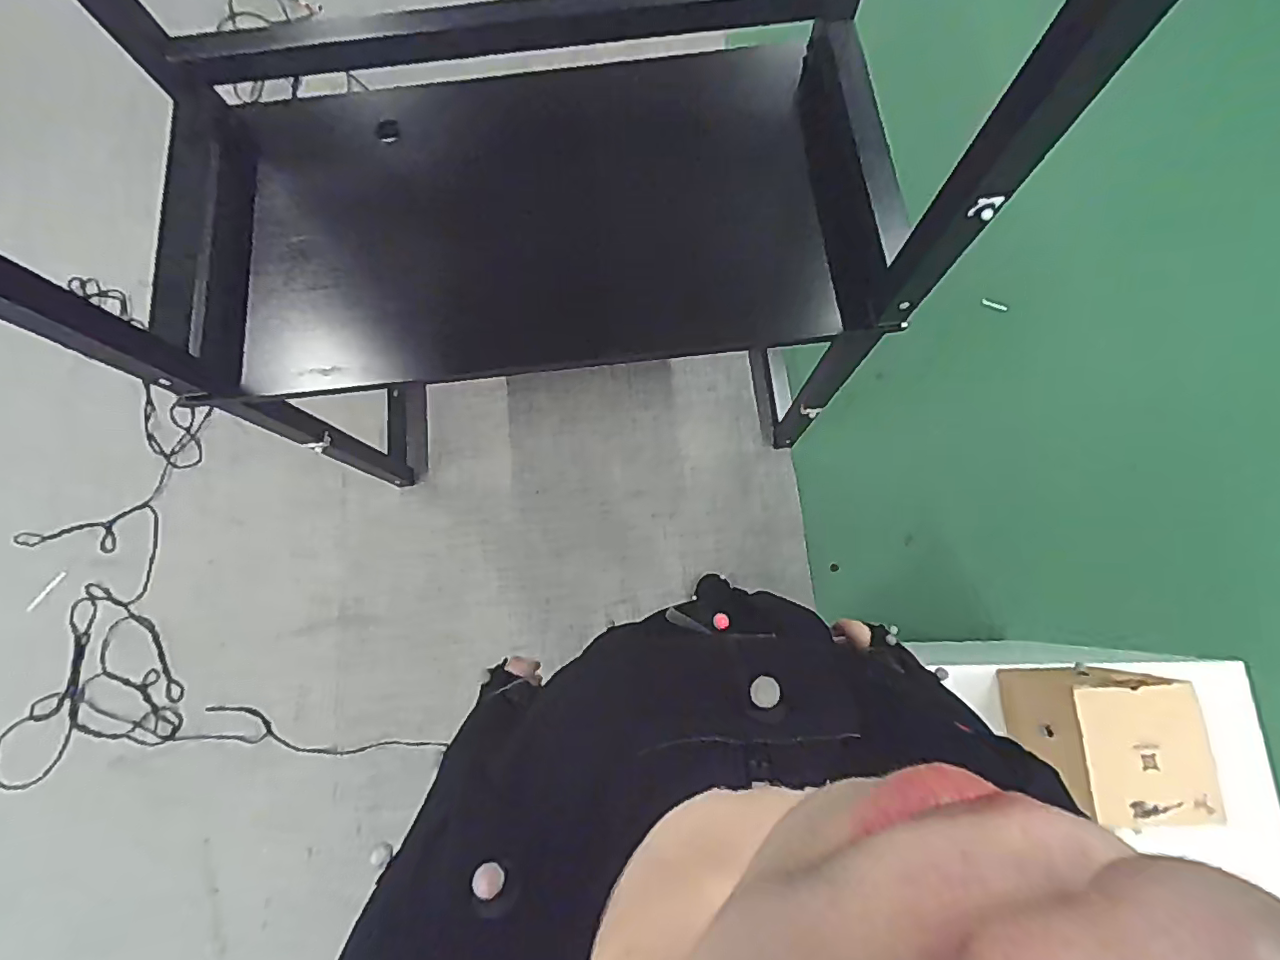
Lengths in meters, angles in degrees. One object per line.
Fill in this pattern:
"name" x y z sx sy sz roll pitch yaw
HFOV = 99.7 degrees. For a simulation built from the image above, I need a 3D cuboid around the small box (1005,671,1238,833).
"small box" 0.655 0.368 0.764 0.168 0.176 0.179 -3 78 2
